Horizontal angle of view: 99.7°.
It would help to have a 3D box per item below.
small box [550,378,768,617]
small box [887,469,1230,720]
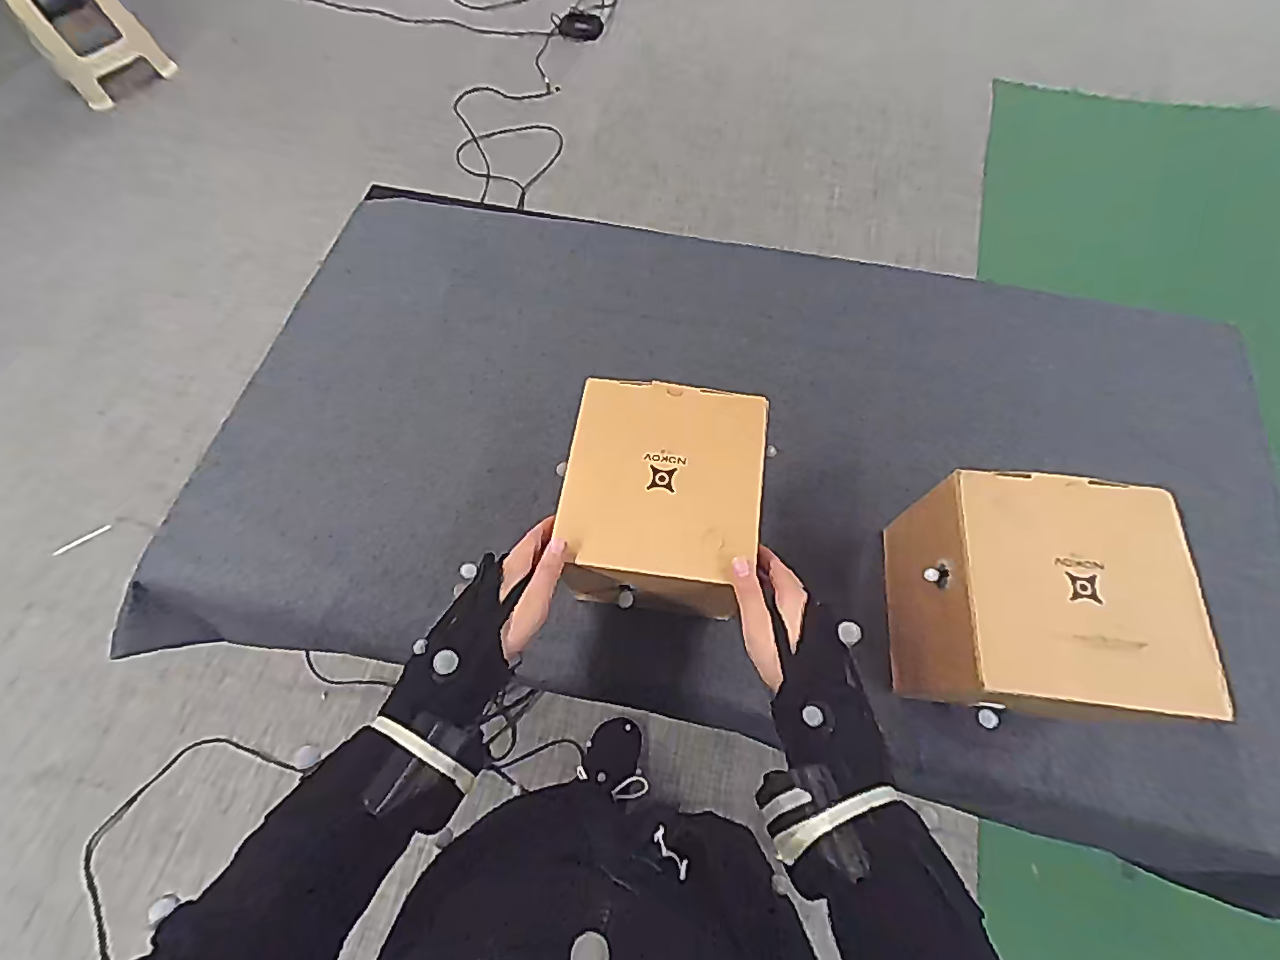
[{"bbox_3d":[0.023,0.027,0.524,0.168,0.176,0.179,7,67,4],"label":"small box"},{"bbox_3d":[0.335,0.109,0.481,0.168,0.176,0.179,5,67,5],"label":"small box"}]
